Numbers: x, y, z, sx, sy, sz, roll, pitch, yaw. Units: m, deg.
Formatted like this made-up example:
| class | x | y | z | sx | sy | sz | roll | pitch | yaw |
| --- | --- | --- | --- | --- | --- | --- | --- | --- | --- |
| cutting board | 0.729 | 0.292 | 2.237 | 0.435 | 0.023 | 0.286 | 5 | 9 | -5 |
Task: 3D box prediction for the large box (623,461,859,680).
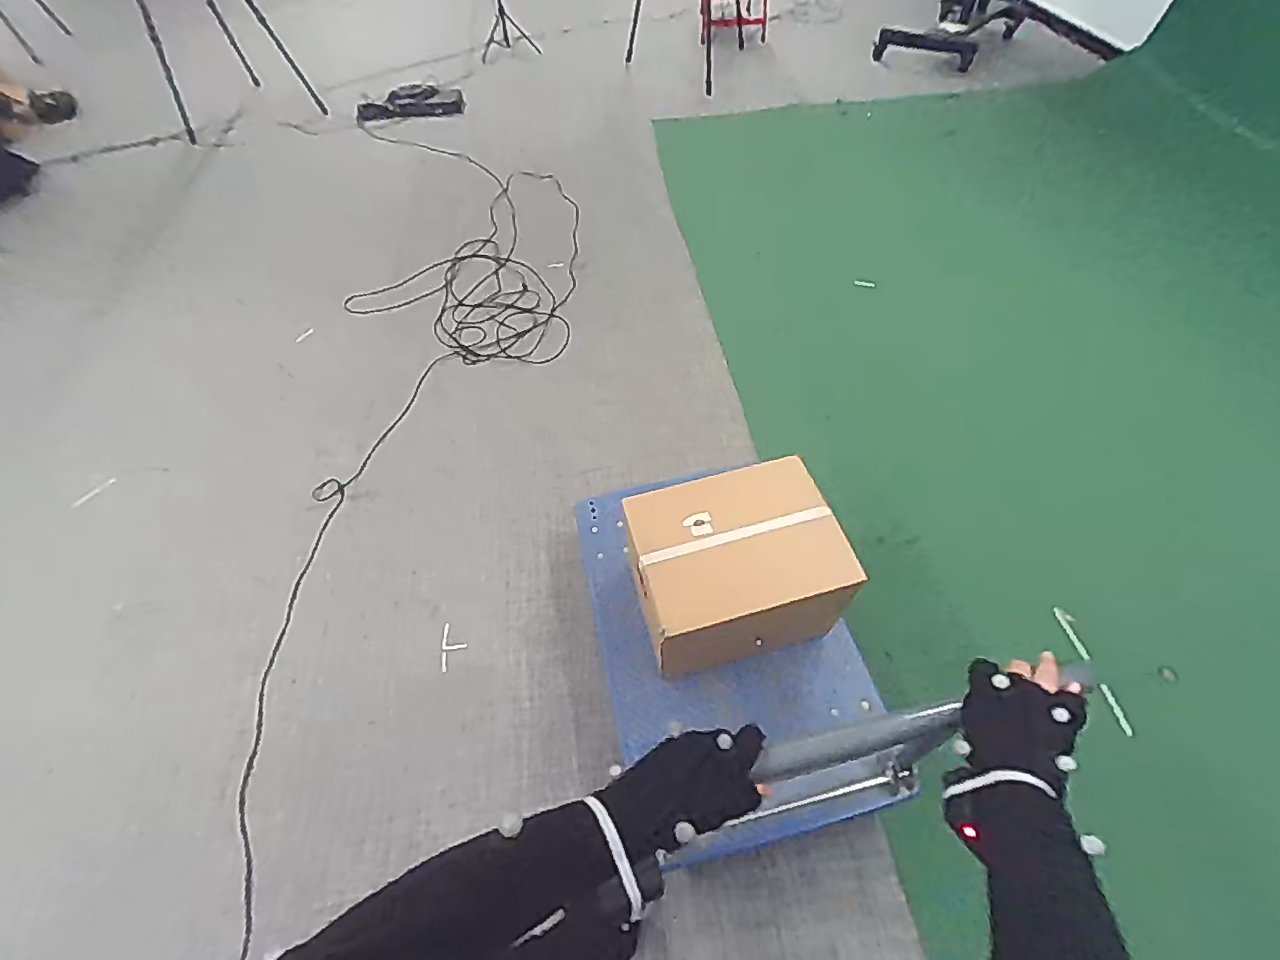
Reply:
| class | x | y | z | sx | sy | sz | roll | pitch | yaw |
| --- | --- | --- | --- | --- | --- | --- | --- | --- | --- |
| large box | 0.201 | 0.210 | 1.219 | 0.408 | 0.320 | 0.320 | -15 | 55 | -7 |
